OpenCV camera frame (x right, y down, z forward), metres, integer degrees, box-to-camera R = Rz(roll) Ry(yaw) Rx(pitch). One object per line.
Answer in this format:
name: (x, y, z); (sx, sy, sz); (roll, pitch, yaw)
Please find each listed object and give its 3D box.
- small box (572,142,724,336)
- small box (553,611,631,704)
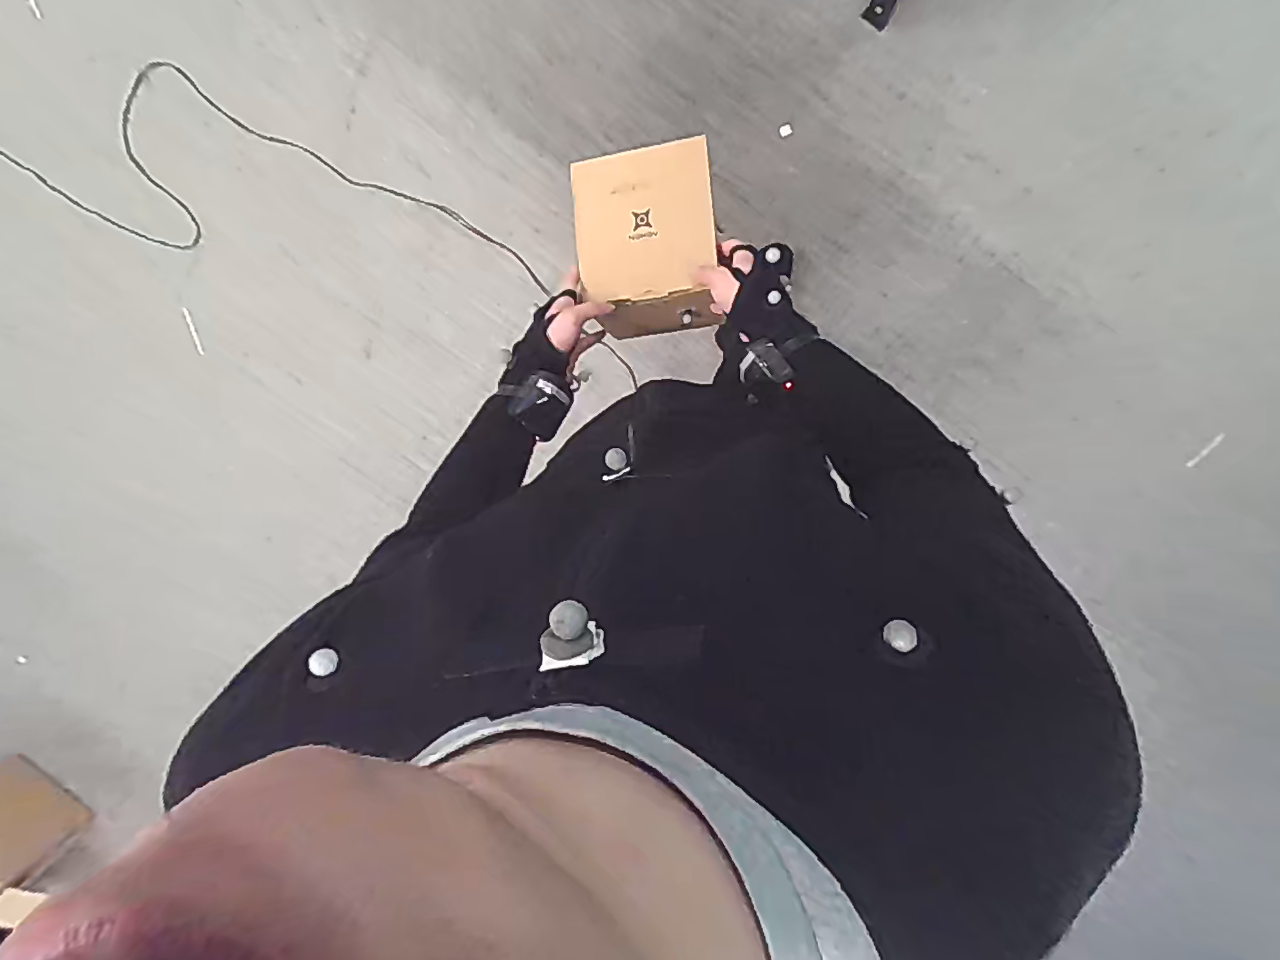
small box: (0.020, -0.302, 0.723); (0.168, 0.176, 0.179); (-7, 88, 11)
small box: (-0.140, 0.542, 1.674); (0.168, 0.176, 0.179); (36, 106, -4)
